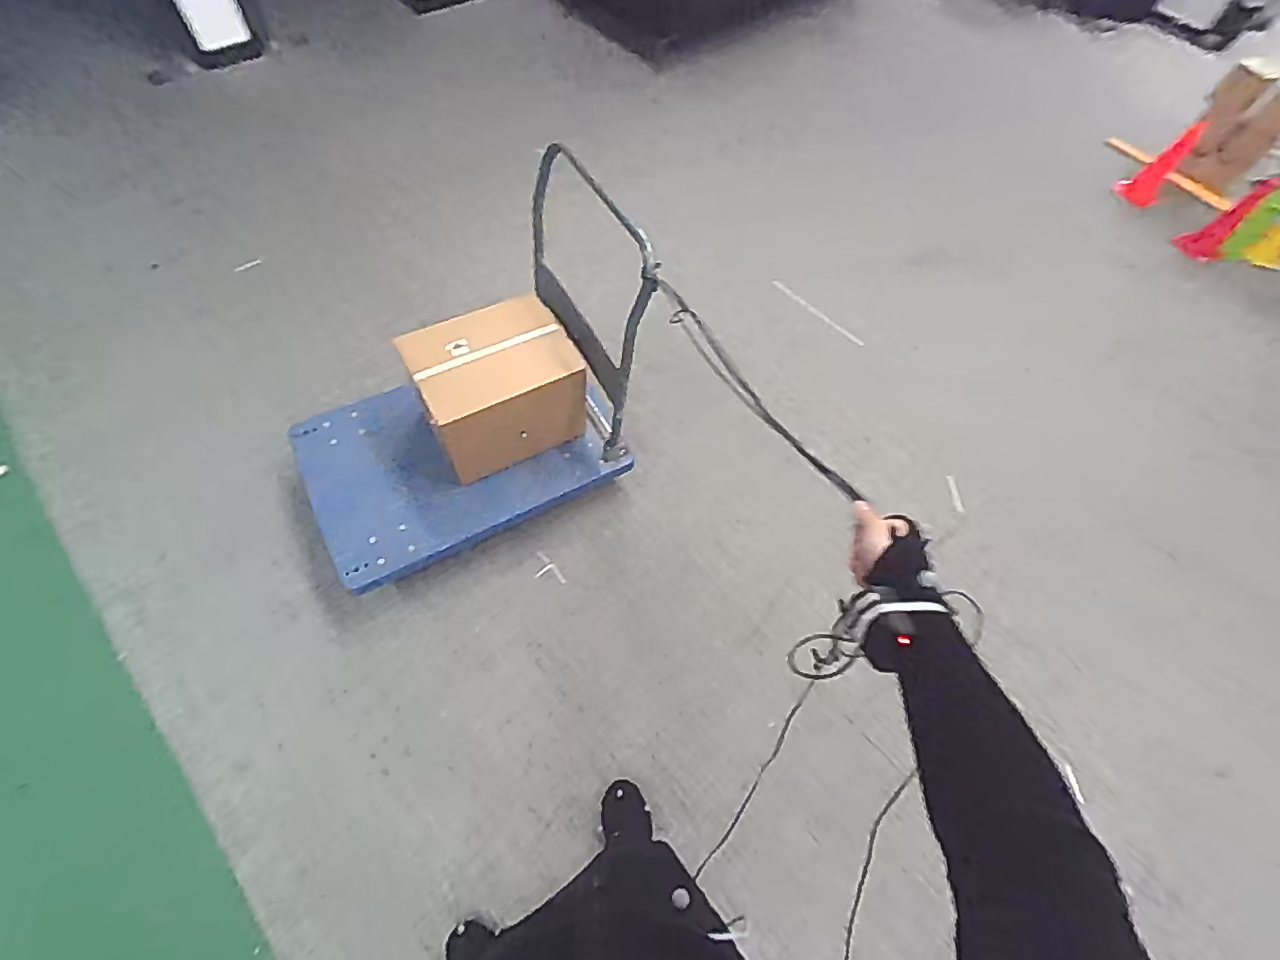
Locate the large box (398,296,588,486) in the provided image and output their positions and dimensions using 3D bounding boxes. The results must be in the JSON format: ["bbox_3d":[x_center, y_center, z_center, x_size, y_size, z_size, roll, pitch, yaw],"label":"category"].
[{"bbox_3d":[-0.395,-0.248,1.532,0.408,0.320,0.320,-26,66,-18],"label":"large box"}]
